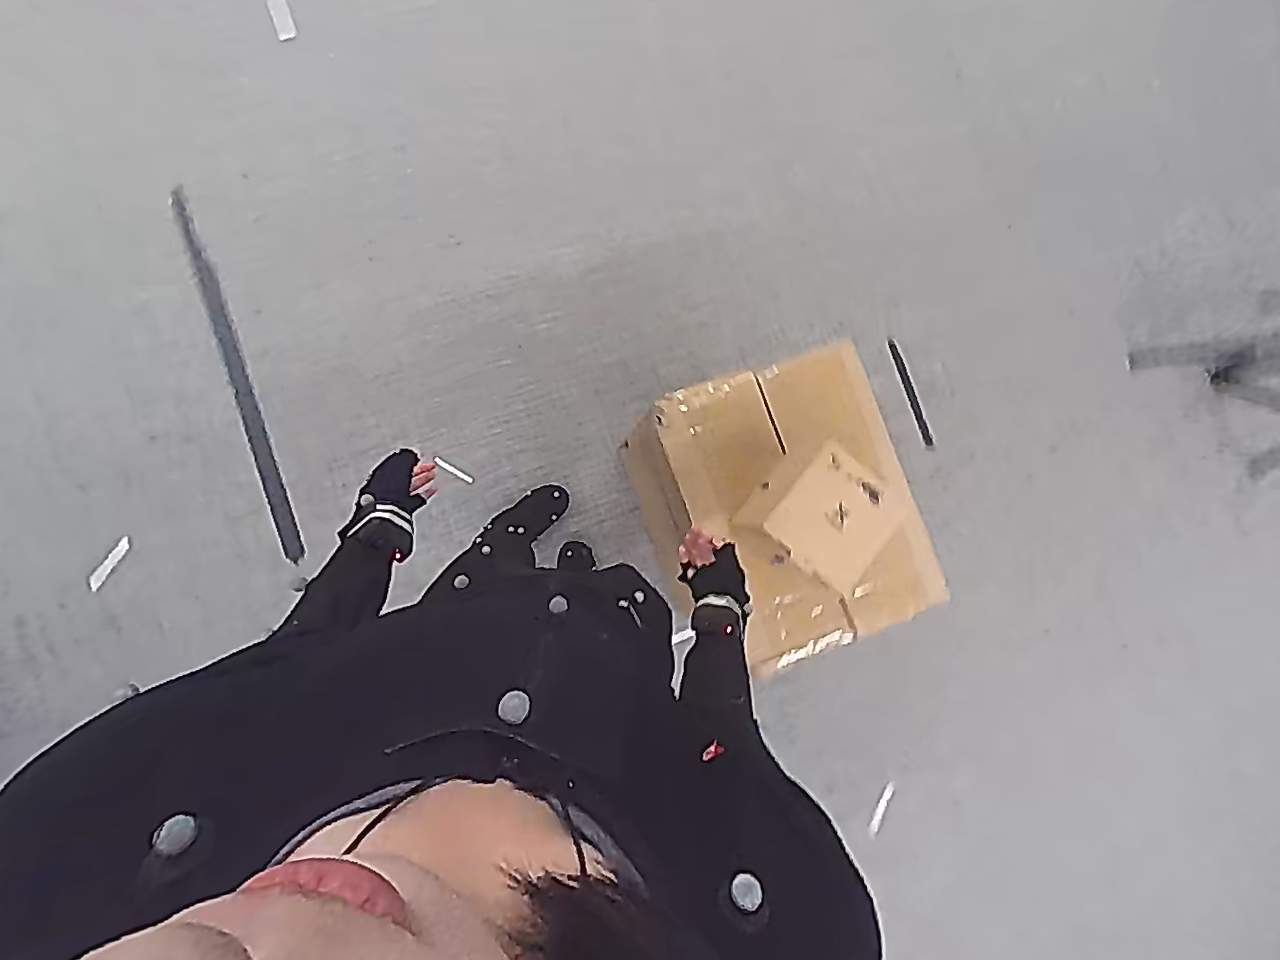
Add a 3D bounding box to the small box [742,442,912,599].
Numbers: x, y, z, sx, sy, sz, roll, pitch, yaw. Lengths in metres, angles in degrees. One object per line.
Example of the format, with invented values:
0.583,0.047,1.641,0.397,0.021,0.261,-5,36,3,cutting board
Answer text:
0.287,0.064,0.879,0.168,0.176,0.179,41,84,-3,small box
